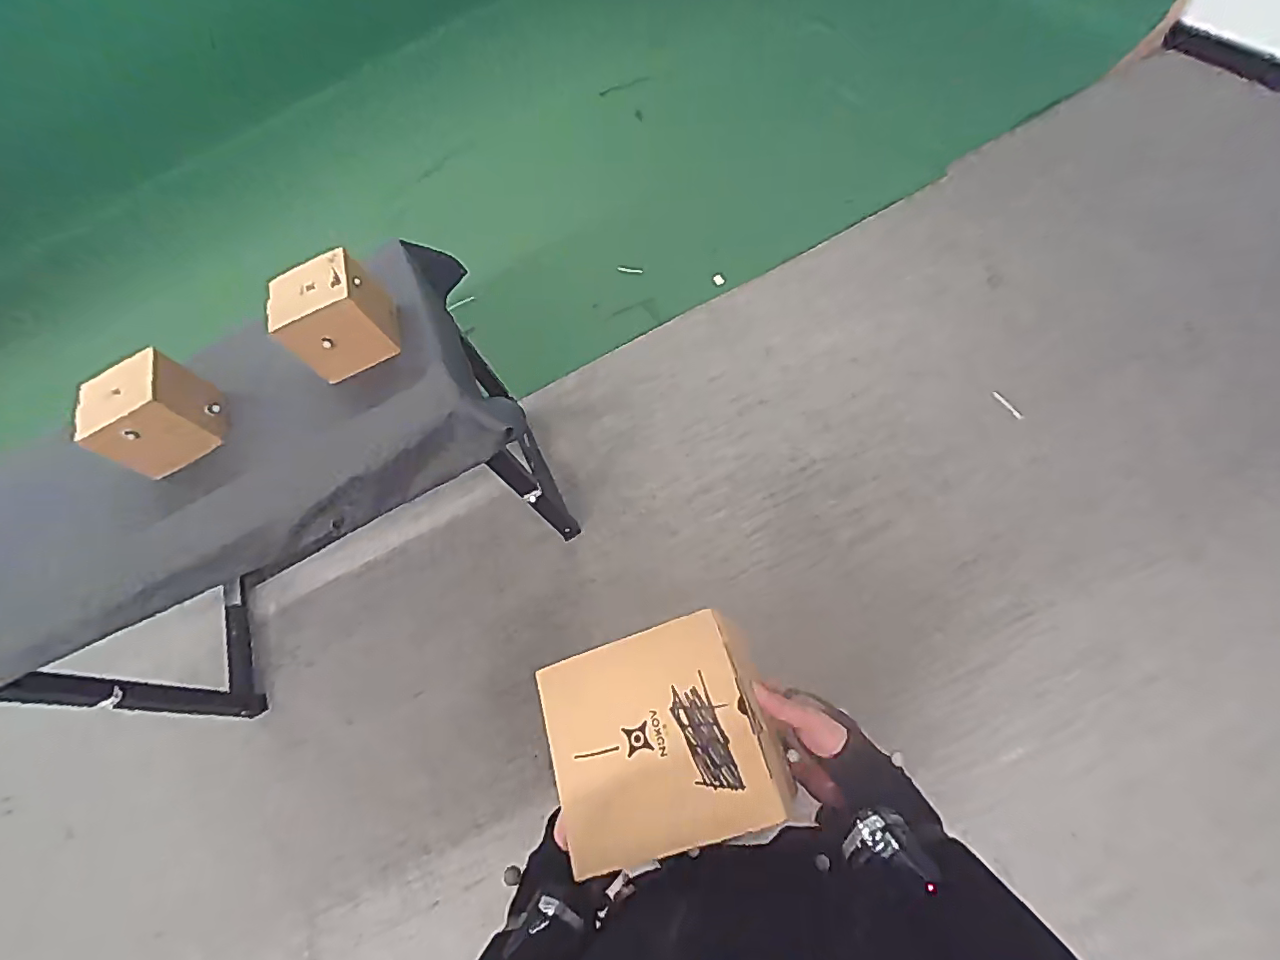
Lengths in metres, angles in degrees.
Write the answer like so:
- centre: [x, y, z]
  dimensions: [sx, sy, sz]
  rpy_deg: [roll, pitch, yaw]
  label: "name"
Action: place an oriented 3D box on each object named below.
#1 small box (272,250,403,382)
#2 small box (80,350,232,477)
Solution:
- centre: [-0.633, -0.337, 1.140]
  dimensions: [0.179, 0.176, 0.168]
  rpy_deg: [-24, 61, 4]
  label: "small box"
- centre: [-1.018, -0.133, 1.151]
  dimensions: [0.179, 0.176, 0.168]
  rpy_deg: [-29, 61, -1]
  label: "small box"
